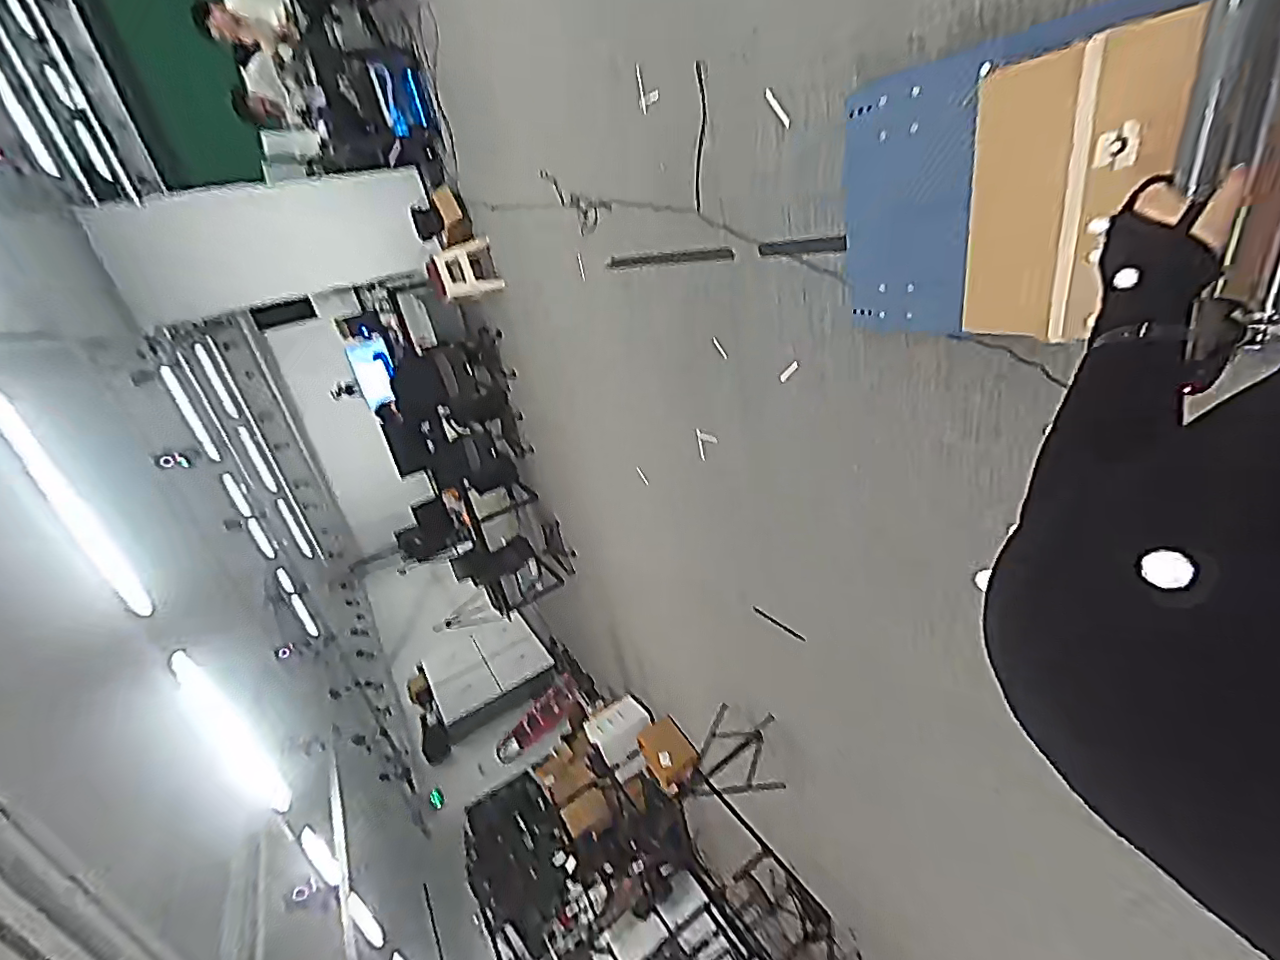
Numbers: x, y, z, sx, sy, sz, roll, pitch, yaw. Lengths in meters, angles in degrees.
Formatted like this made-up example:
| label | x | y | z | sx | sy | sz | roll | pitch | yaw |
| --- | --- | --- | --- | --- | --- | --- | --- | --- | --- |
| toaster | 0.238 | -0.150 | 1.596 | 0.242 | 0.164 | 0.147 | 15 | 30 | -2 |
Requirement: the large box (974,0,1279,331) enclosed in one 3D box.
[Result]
| label | x | y | z | sx | sy | sz | roll | pitch | yaw |
| --- | --- | --- | --- | --- | --- | --- | --- | --- | --- |
| large box | 0.789 | -0.478 | 0.861 | 0.320 | 0.320 | 0.408 | 28 | 136 | 54 |
